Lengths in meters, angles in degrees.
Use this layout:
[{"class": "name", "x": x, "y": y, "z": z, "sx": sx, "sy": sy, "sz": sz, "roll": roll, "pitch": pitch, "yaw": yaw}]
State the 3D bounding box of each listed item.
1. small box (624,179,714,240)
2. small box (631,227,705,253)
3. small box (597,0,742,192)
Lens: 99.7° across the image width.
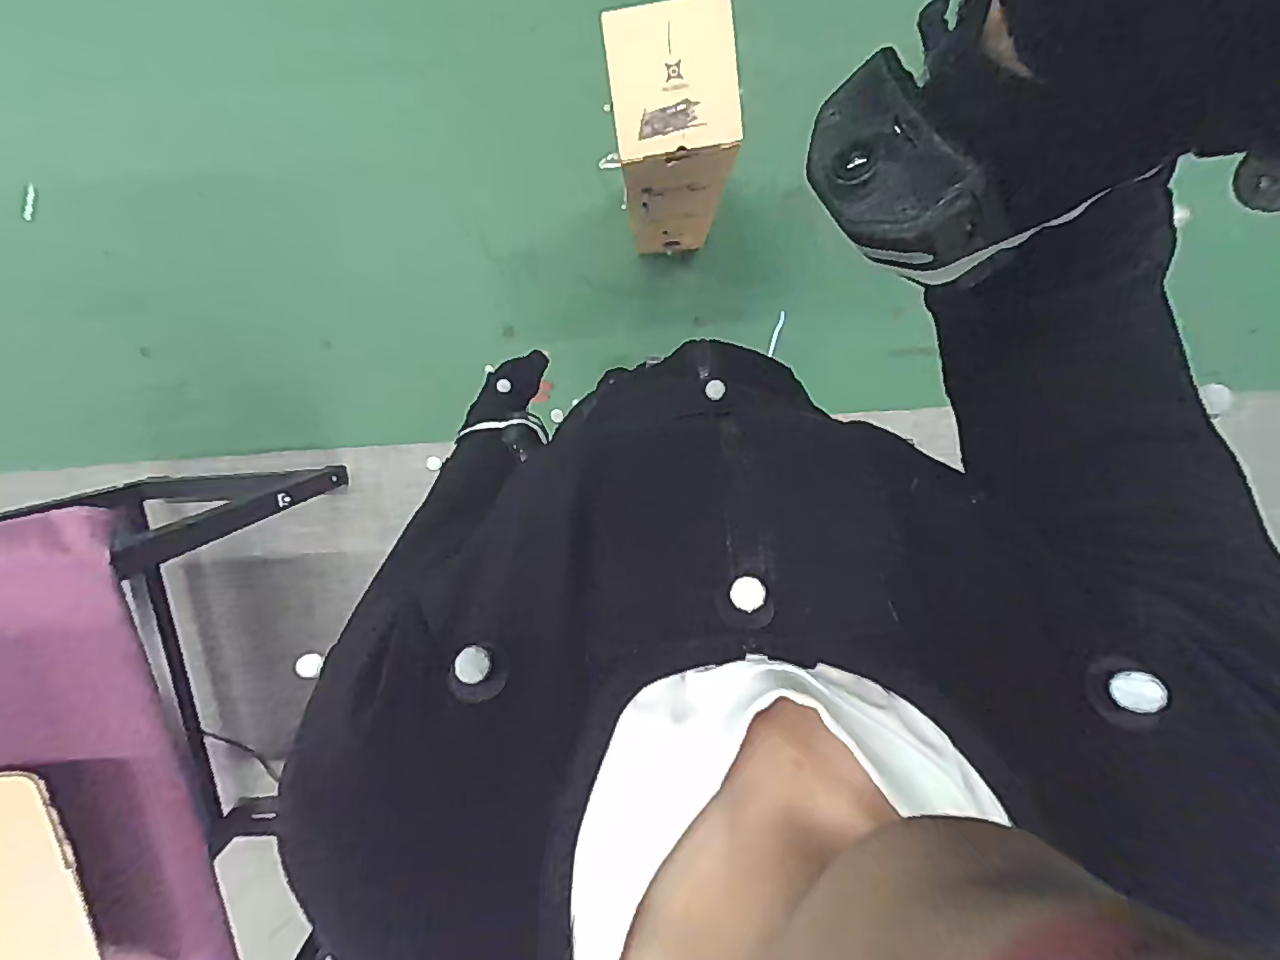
[{"class": "small box", "x": 0.052, "y": -0.604, "z": 1.092, "sx": 0.168, "sy": 0.176, "sz": 0.179, "roll": -7, "pitch": 104, "yaw": 3}, {"class": "small box", "x": 0.057, "y": -0.640, "z": 1.250, "sx": 0.168, "sy": 0.176, "sz": 0.179, "roll": -5, "pitch": 103, "yaw": 3}, {"class": "small box", "x": 0.043, "y": -0.531, "z": 0.771, "sx": 0.168, "sy": 0.176, "sz": 0.179, "roll": -11, "pitch": 104, "yaw": 4}]
